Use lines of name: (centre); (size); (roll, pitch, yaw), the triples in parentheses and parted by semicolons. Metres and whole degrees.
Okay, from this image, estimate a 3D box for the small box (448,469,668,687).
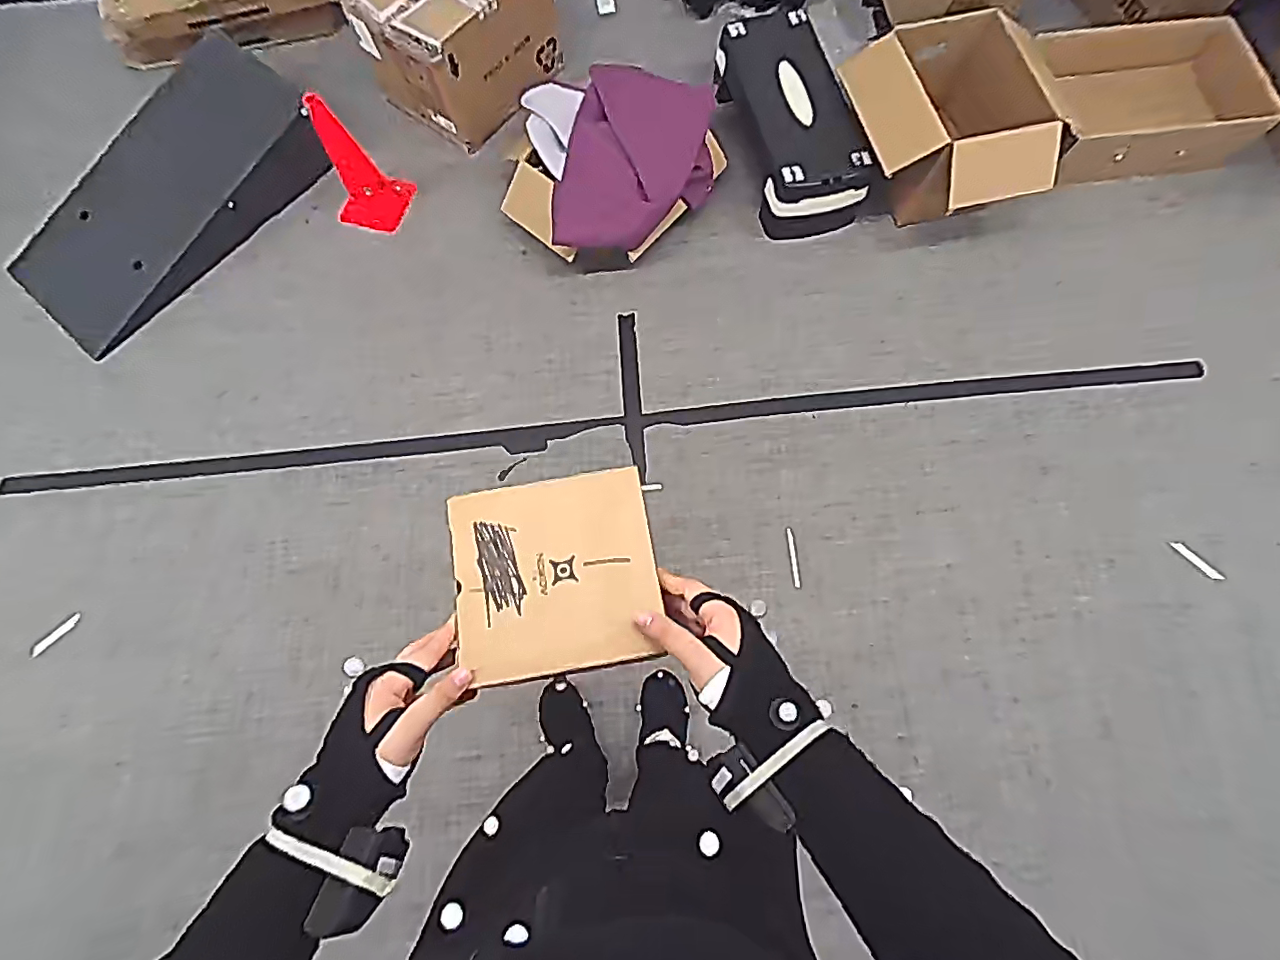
small box: (-0.072, 0.105, 0.531); (0.179, 0.176, 0.168); (-9, 71, -3)
